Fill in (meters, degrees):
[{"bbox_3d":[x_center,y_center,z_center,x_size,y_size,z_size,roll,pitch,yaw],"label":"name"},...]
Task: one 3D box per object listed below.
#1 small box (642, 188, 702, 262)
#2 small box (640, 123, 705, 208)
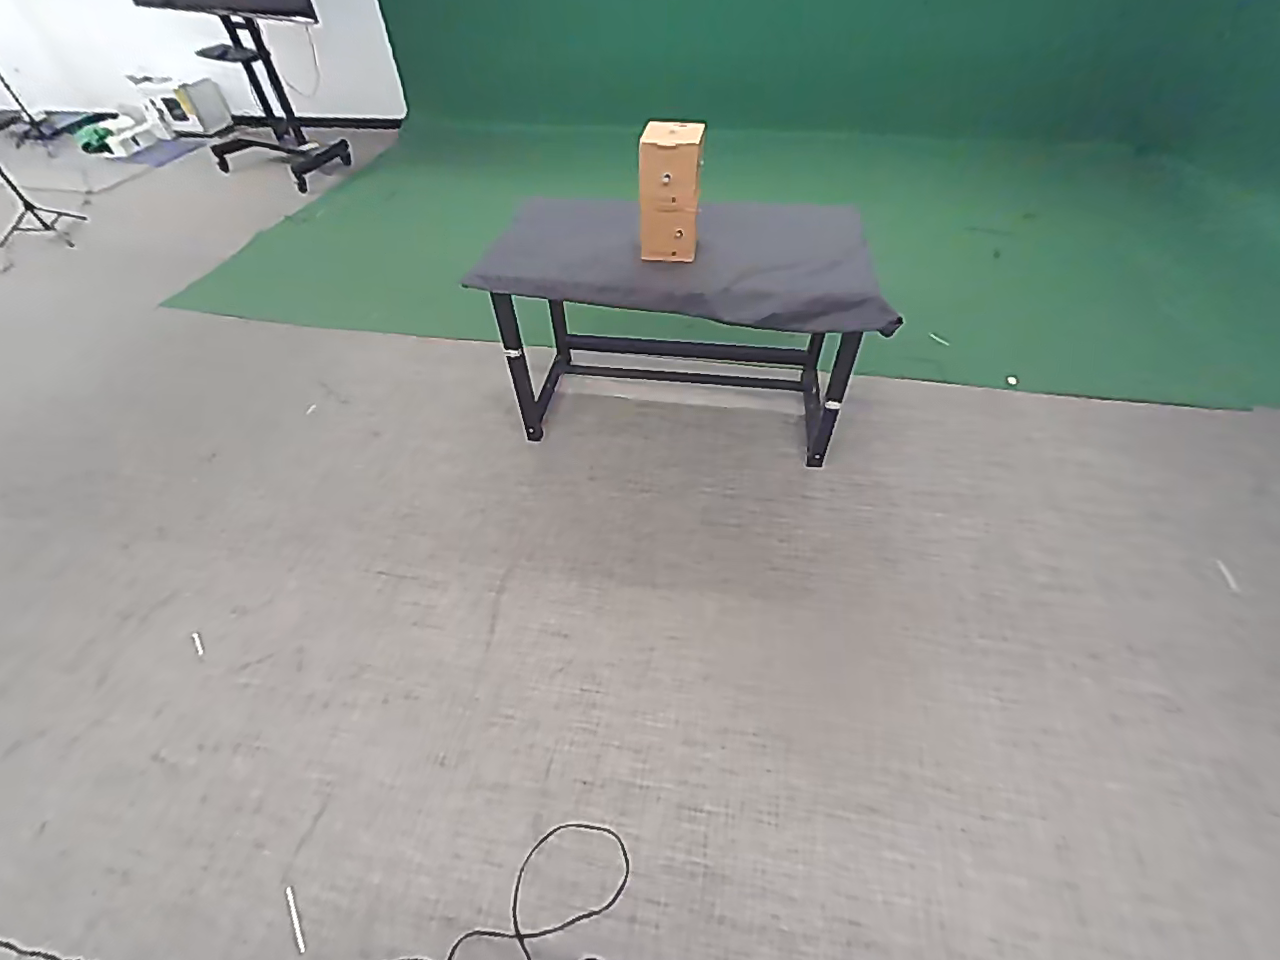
[{"bbox_3d":[0.101,-0.805,1.701,0.168,0.176,0.179,6,48,6],"label":"small box"},{"bbox_3d":[0.096,-0.917,1.581,0.168,0.176,0.179,8,51,7],"label":"small box"}]
